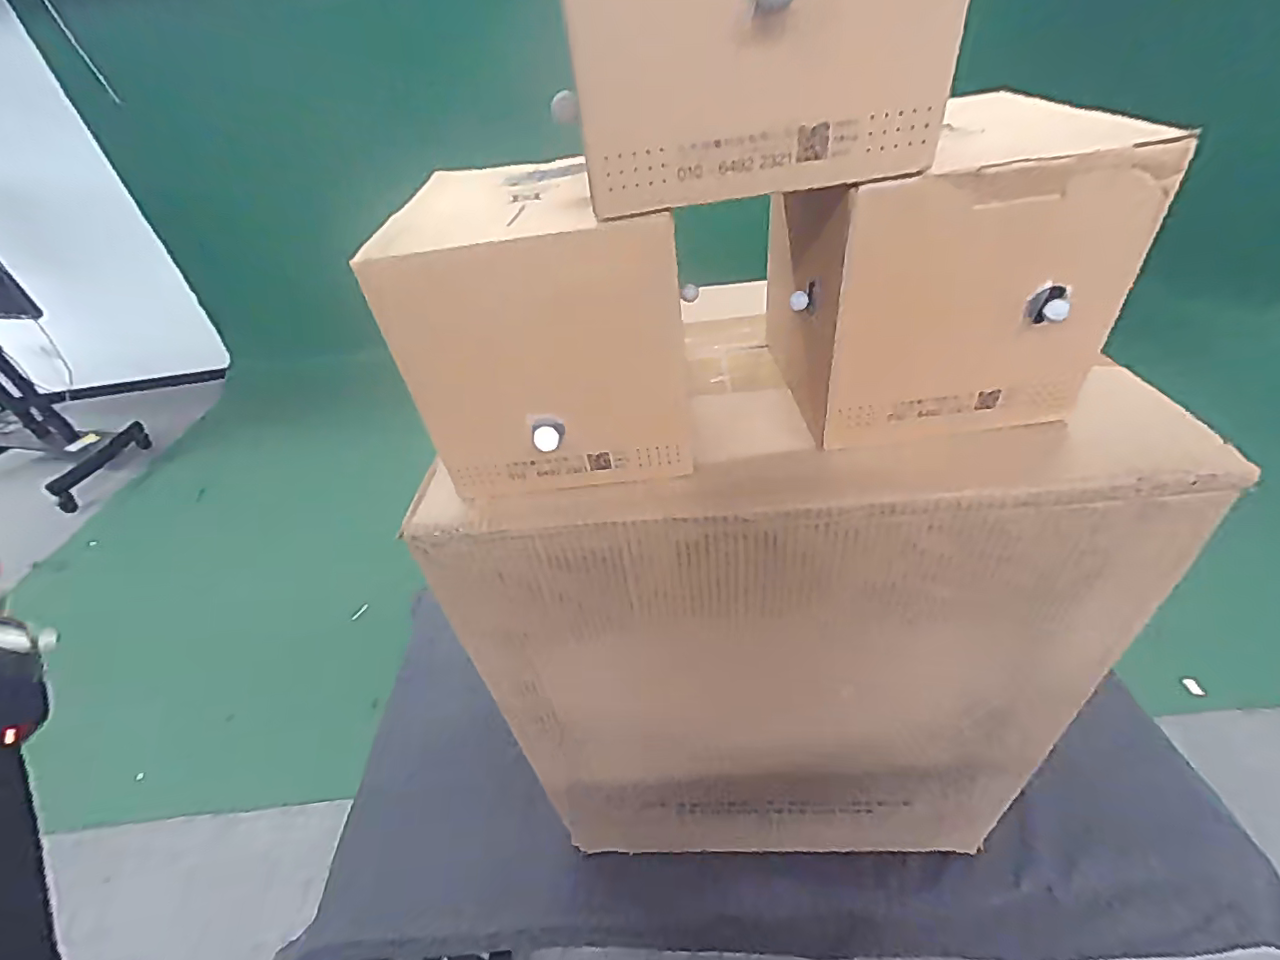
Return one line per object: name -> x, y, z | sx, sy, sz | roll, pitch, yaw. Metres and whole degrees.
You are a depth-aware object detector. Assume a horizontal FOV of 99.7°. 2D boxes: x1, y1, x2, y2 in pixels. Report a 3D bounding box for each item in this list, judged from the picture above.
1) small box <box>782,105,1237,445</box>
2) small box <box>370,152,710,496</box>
small box -> 0.204, -0.136, 0.370 | 0.168, 0.176, 0.179 | -6, 41, 0
small box -> -0.040, -0.109, 0.369 | 0.168, 0.176, 0.179 | -4, 42, 7
